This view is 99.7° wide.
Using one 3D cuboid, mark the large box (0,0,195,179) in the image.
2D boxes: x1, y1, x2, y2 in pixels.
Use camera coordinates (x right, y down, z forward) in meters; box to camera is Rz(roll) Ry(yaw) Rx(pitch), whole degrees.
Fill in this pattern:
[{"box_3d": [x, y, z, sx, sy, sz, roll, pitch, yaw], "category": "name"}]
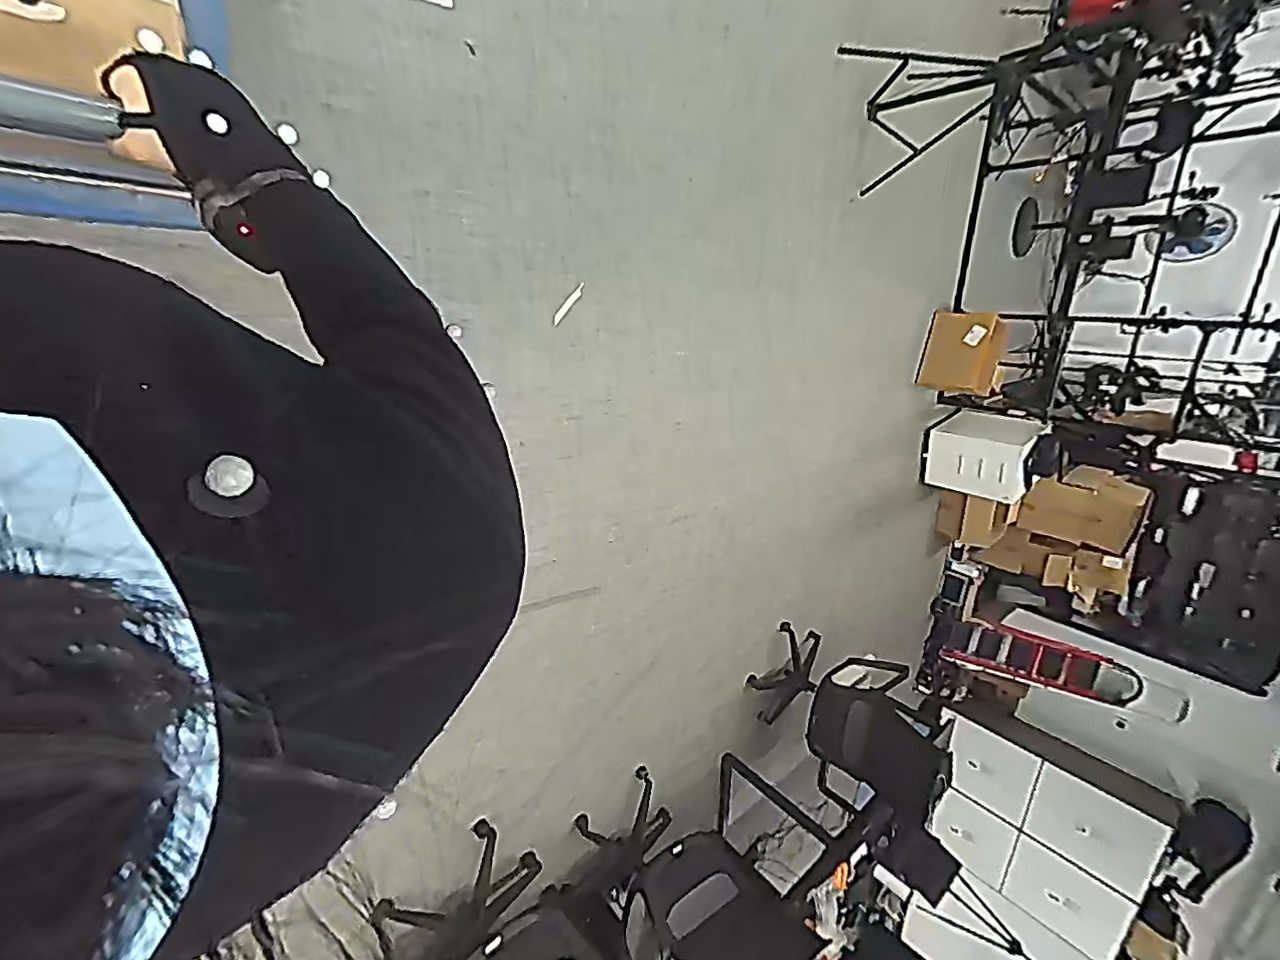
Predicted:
[{"box_3d": [-0.842, -0.596, 0.661, 0.408, 0.320, 0.320, -12, 113, -41], "category": "large box"}]
